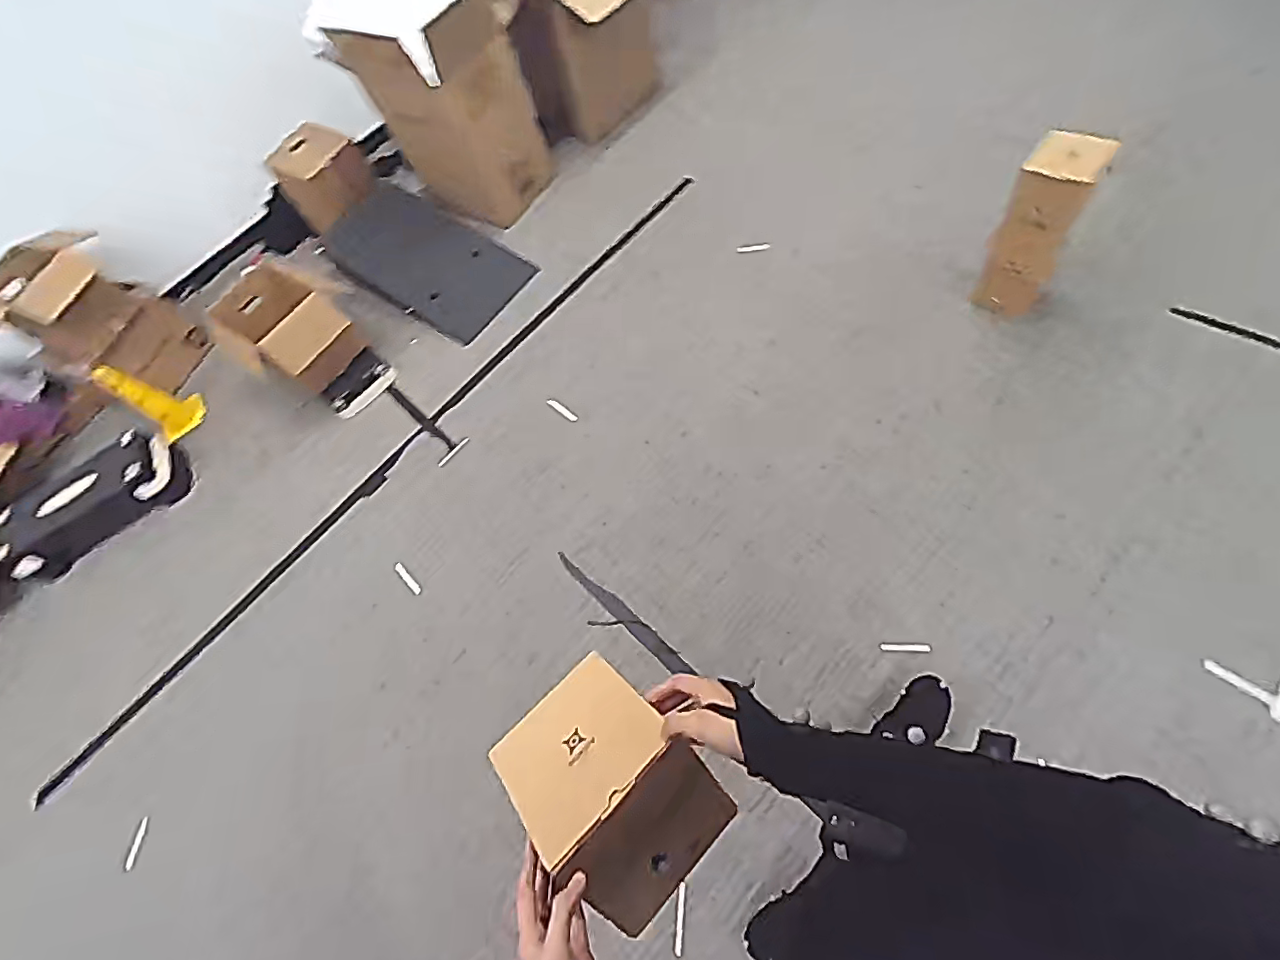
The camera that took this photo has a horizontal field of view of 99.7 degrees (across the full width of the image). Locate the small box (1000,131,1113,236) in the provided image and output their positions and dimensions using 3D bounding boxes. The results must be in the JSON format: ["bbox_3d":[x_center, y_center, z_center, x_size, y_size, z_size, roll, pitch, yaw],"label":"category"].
[{"bbox_3d":[1.132,-0.812,1.486,0.168,0.176,0.179,34,76,28],"label":"small box"}]

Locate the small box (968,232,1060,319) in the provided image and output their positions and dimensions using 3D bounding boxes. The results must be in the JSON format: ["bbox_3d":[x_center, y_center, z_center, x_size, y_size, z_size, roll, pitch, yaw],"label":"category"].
[{"bbox_3d":[1.213,-0.667,1.769,0.168,0.176,0.179,34,75,27],"label":"small box"}]
